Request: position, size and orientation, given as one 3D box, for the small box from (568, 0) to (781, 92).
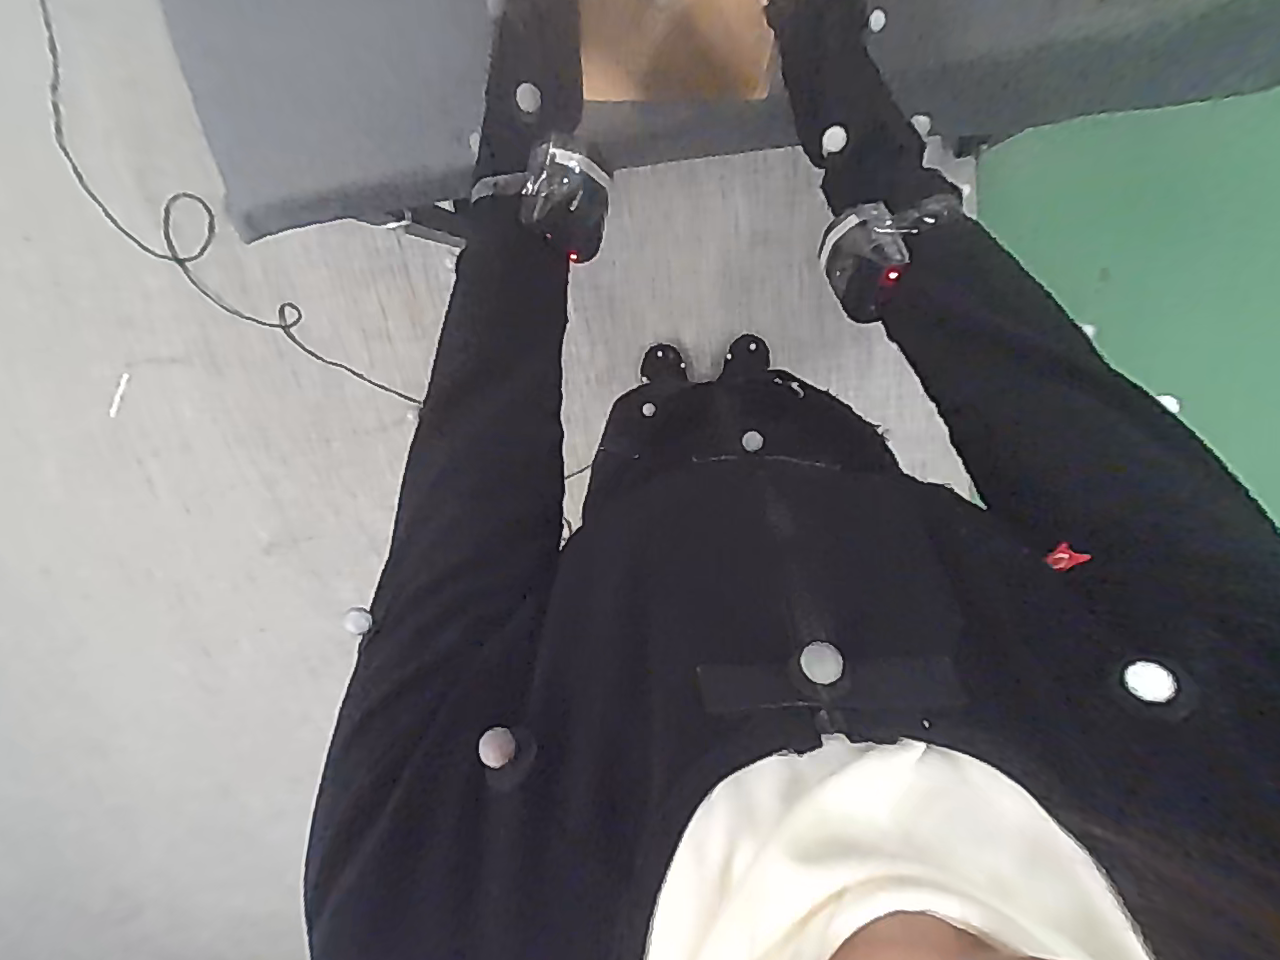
[{"bbox_3d":[0.028,-0.452,0.436,0.179,0.176,0.168,0,79,0],"label":"small box"}]
